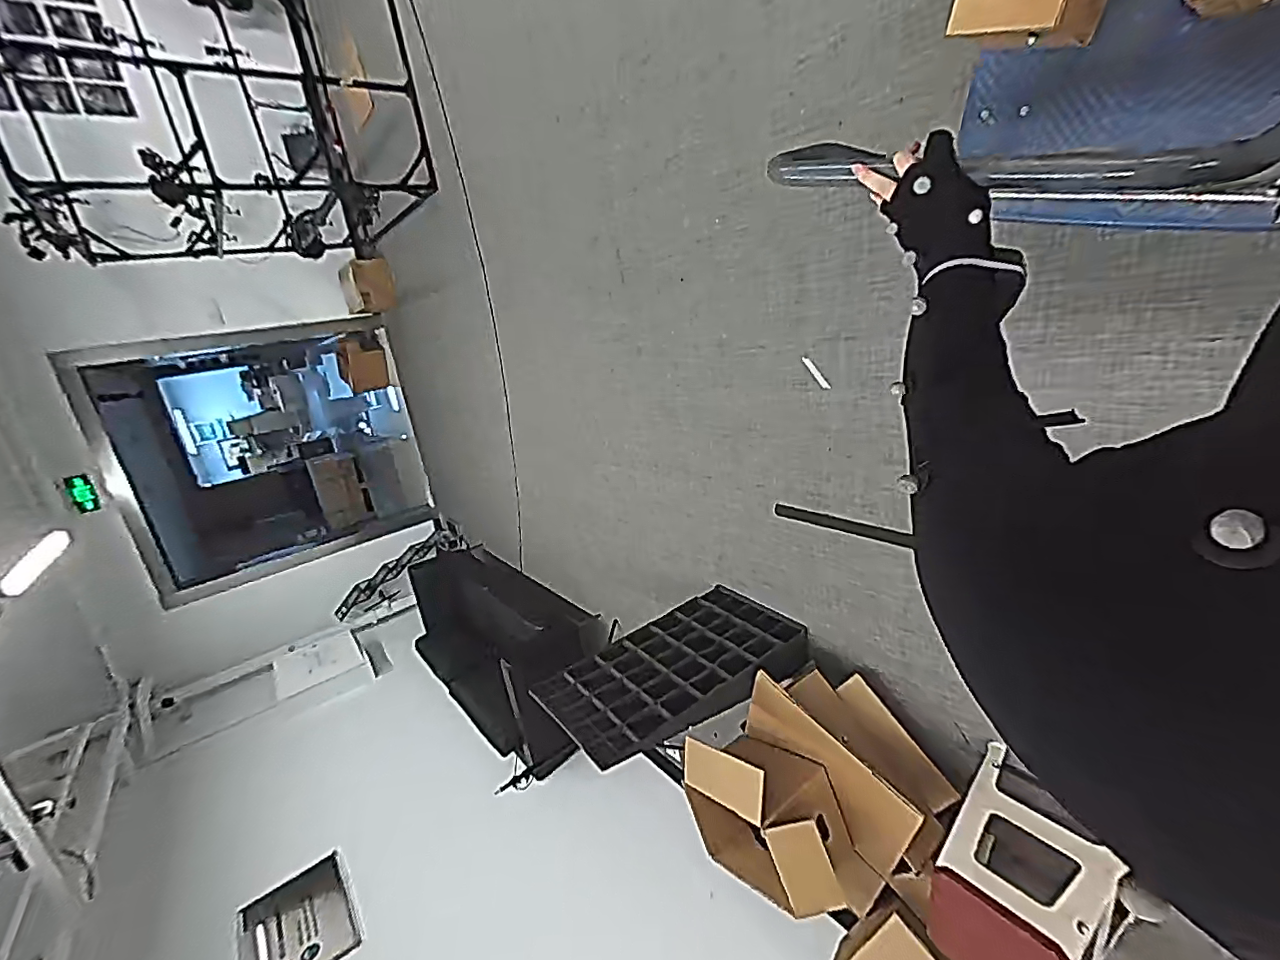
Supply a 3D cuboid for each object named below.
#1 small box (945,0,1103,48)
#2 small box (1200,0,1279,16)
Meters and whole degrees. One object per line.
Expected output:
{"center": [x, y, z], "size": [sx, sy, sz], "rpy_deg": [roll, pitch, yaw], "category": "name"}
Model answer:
{"center": [0.652, -0.830, 0.889], "size": [0.179, 0.176, 0.168], "rpy_deg": [35, 132, 38], "category": "small box"}
{"center": [0.843, -0.717, 0.675], "size": [0.179, 0.176, 0.168], "rpy_deg": [27, 128, 46], "category": "small box"}
